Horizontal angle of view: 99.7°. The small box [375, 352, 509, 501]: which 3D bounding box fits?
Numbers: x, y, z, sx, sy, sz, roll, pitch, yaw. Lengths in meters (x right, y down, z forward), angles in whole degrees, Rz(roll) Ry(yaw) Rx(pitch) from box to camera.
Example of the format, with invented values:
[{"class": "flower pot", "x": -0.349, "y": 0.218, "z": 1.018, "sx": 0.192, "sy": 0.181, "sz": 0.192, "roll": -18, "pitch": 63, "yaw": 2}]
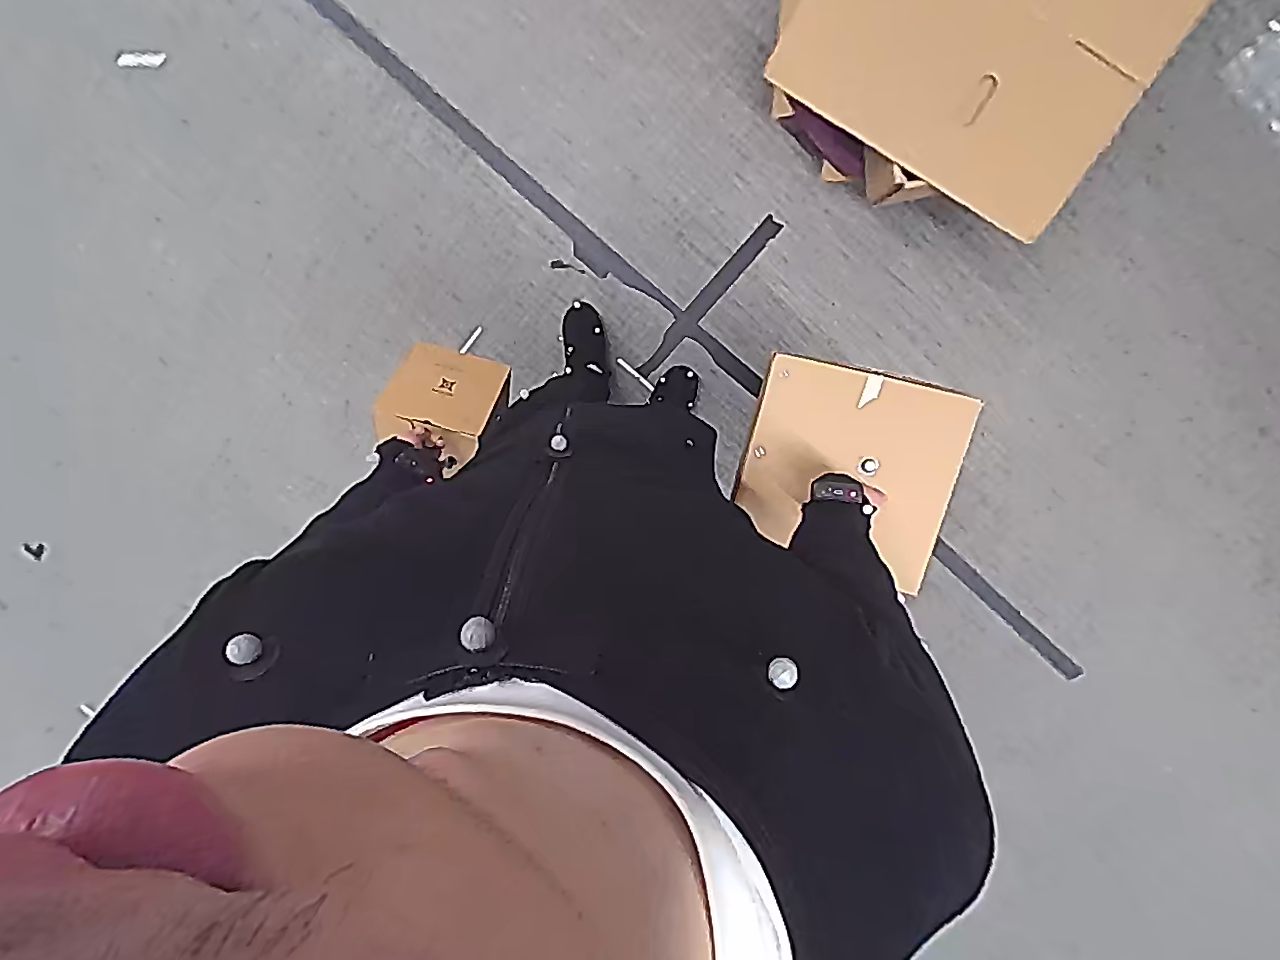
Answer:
[{"class": "small box", "x": -0.336, "y": -0.088, "z": 0.950, "sx": 0.168, "sy": 0.179, "sz": 0.176, "roll": 14, "pitch": 139, "yaw": -6}]
